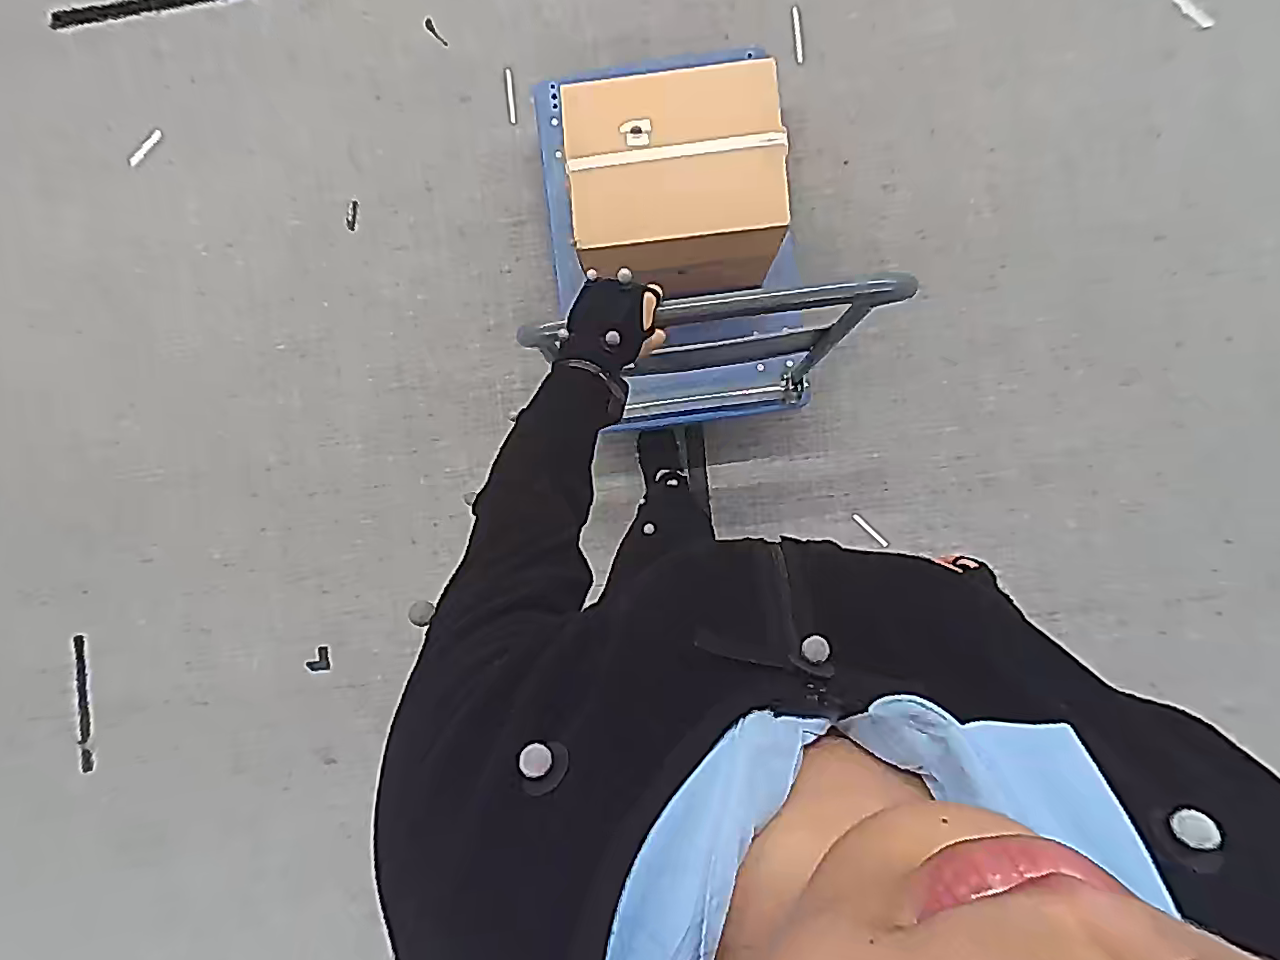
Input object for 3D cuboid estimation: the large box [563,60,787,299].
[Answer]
[{"bbox_3d":[0.075,-0.611,1.167,0.408,0.320,0.320,-6,89,4],"label":"large box"}]
